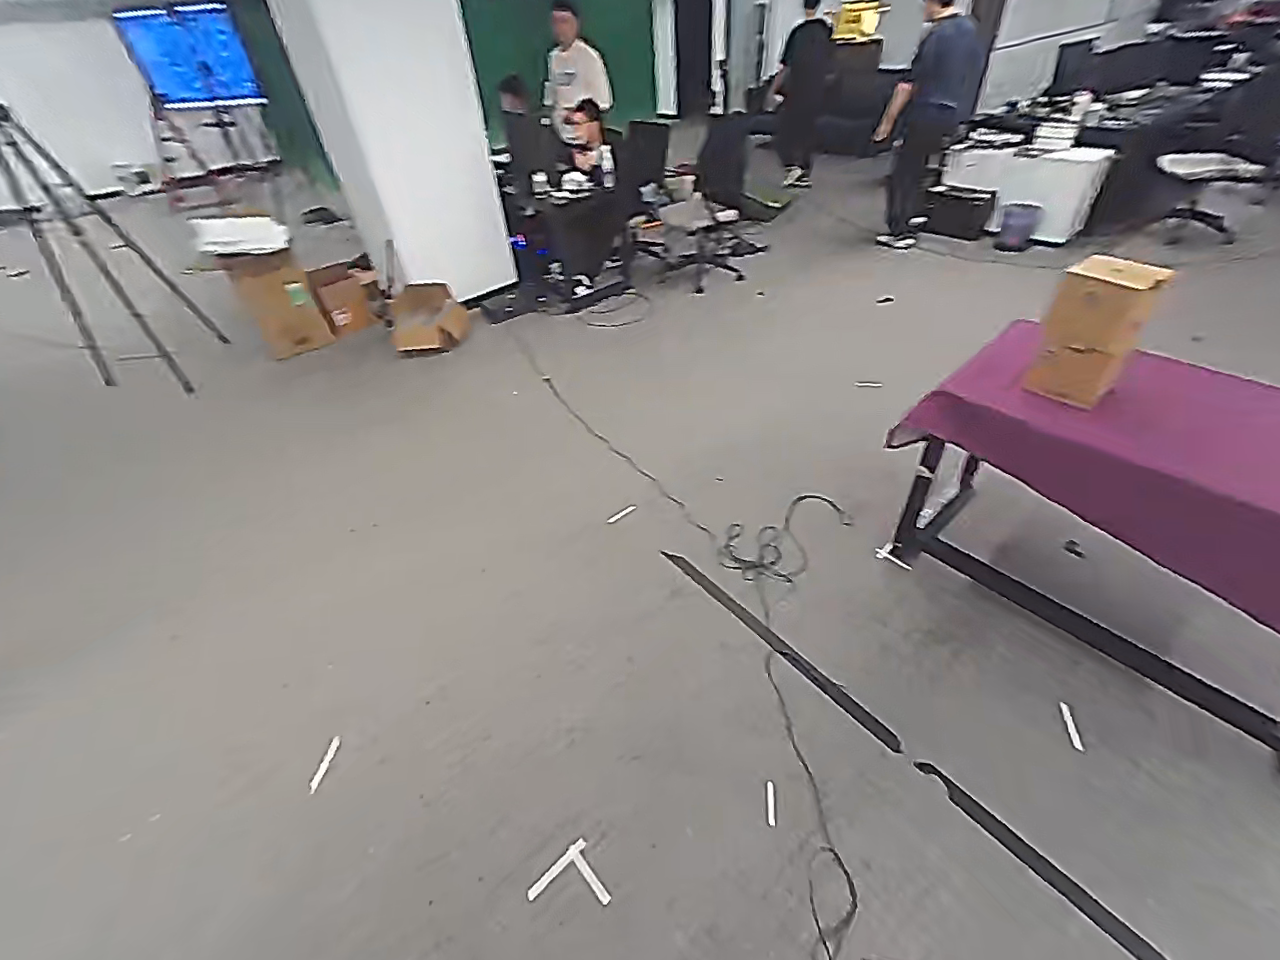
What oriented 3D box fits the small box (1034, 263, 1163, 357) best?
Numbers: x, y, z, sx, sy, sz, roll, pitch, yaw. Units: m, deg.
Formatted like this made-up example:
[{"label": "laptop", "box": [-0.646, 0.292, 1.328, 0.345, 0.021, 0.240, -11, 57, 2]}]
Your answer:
[{"label": "small box", "box": [1.185, -0.444, 1.415, 0.168, 0.176, 0.179, -25, 45, -22]}]
